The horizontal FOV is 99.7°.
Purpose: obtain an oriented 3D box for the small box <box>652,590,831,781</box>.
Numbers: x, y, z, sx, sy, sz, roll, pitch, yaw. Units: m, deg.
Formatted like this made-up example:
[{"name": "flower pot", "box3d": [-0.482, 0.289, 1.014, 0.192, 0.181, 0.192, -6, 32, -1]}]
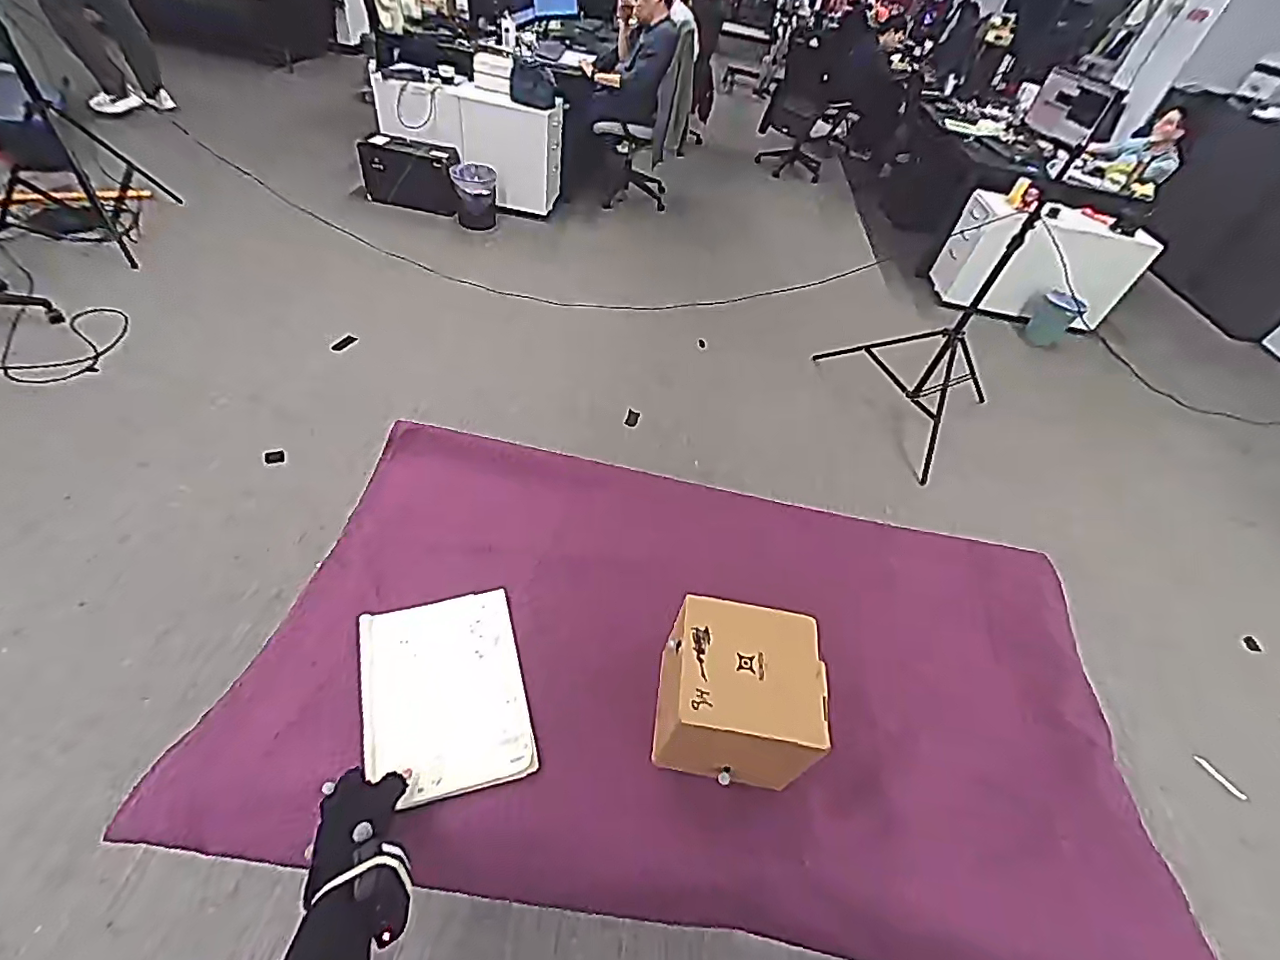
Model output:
[{"name": "small box", "box3d": [0.123, 0.270, 0.701, 0.179, 0.176, 0.168, 12, 45, -2]}]
